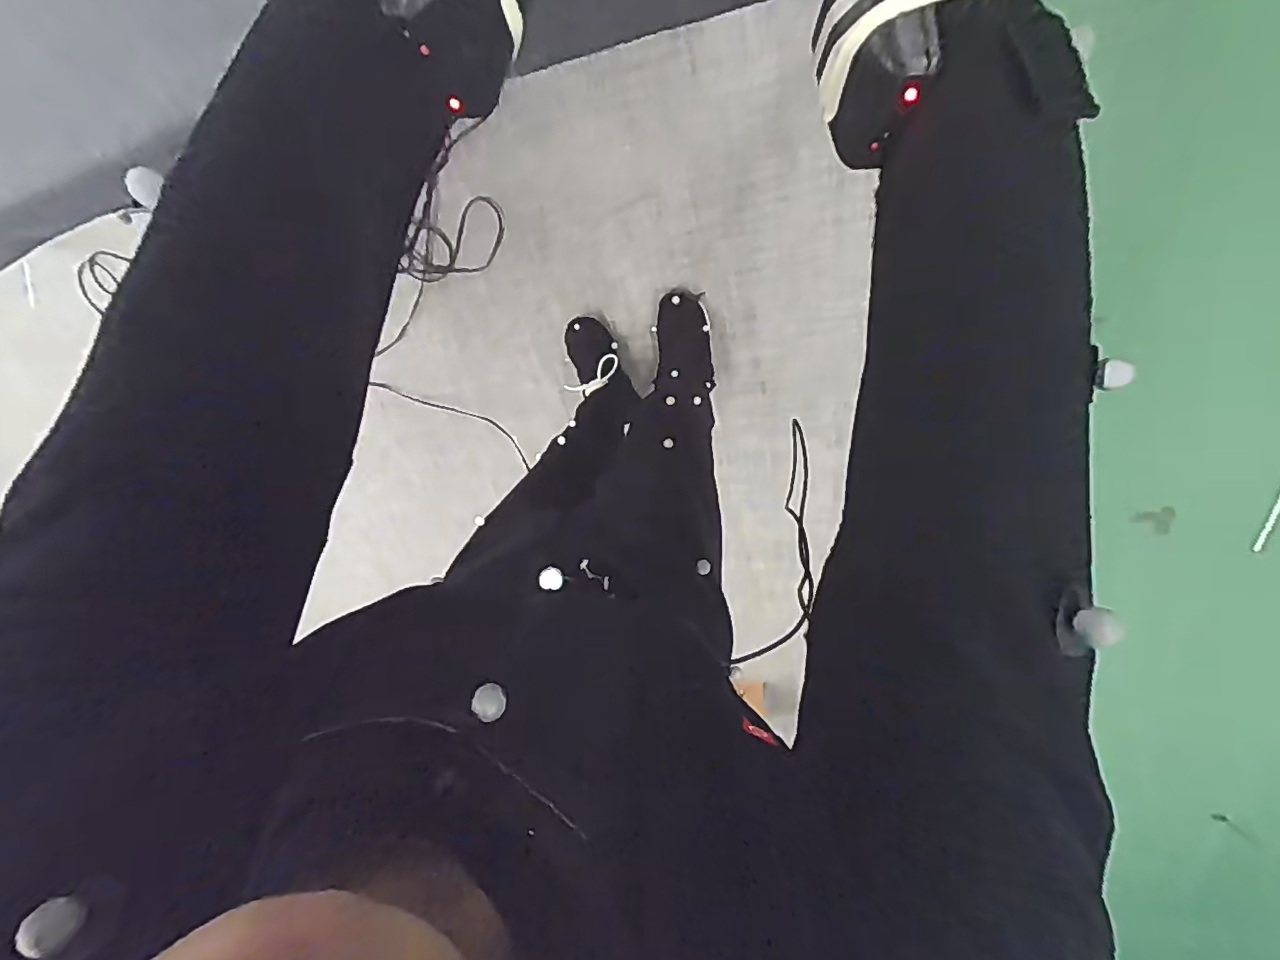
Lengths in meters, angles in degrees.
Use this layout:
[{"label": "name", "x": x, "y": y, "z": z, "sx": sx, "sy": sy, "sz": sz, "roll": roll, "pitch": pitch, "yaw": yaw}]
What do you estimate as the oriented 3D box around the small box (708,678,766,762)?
[{"label": "small box", "x": 0.312, "y": 0.756, "z": 1.710, "sx": 0.168, "sy": 0.176, "sz": 0.179, "roll": -3, "pitch": 120, "yaw": 14}]
